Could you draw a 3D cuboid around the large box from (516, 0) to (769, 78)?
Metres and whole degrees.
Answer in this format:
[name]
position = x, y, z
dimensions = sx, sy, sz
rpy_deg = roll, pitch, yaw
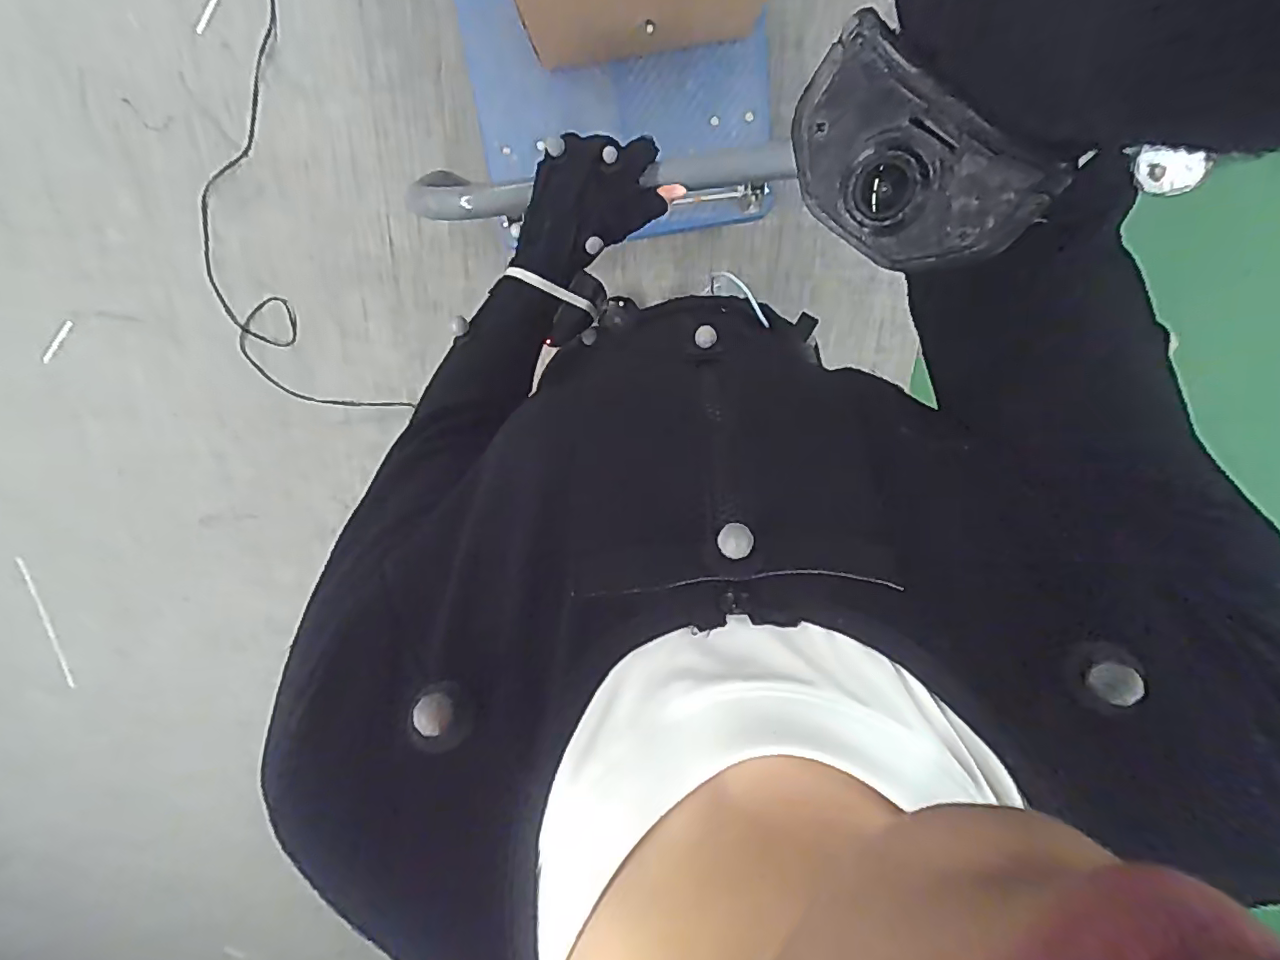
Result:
[large box]
position = -0.002, -0.910, 0.870
dimensions = 0.408, 0.320, 0.320
rpy_deg = -7, 108, 4
